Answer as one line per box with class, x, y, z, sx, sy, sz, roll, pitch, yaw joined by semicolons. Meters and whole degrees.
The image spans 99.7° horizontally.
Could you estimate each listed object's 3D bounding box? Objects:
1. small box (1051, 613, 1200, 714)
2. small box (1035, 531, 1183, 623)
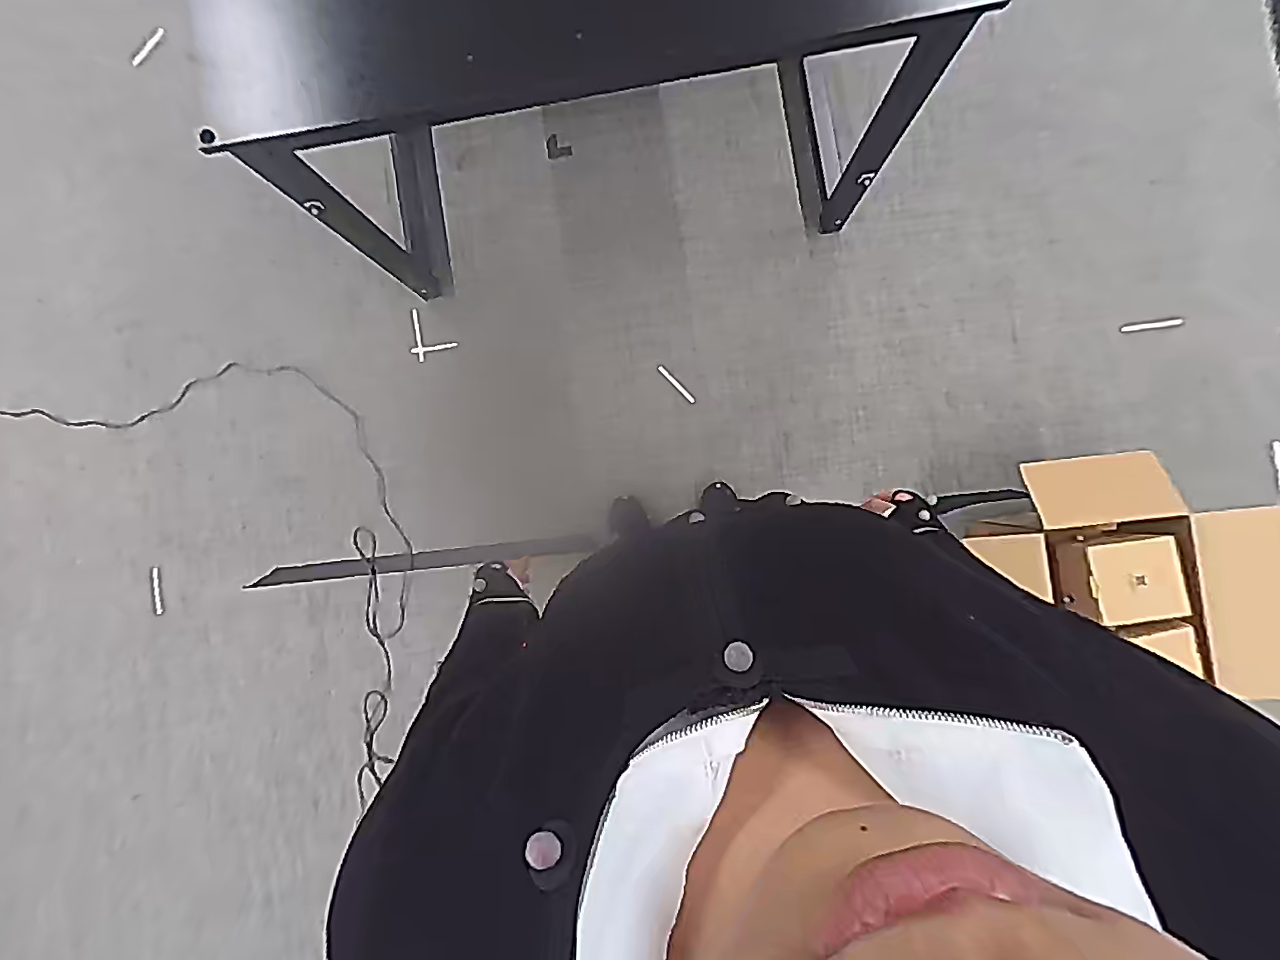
small box;1.047;0.384;1.187;0.179;0.176;0.168;-14;93;3
small box;1.014;0.207;1.191;0.179;0.176;0.168;-10;86;2
